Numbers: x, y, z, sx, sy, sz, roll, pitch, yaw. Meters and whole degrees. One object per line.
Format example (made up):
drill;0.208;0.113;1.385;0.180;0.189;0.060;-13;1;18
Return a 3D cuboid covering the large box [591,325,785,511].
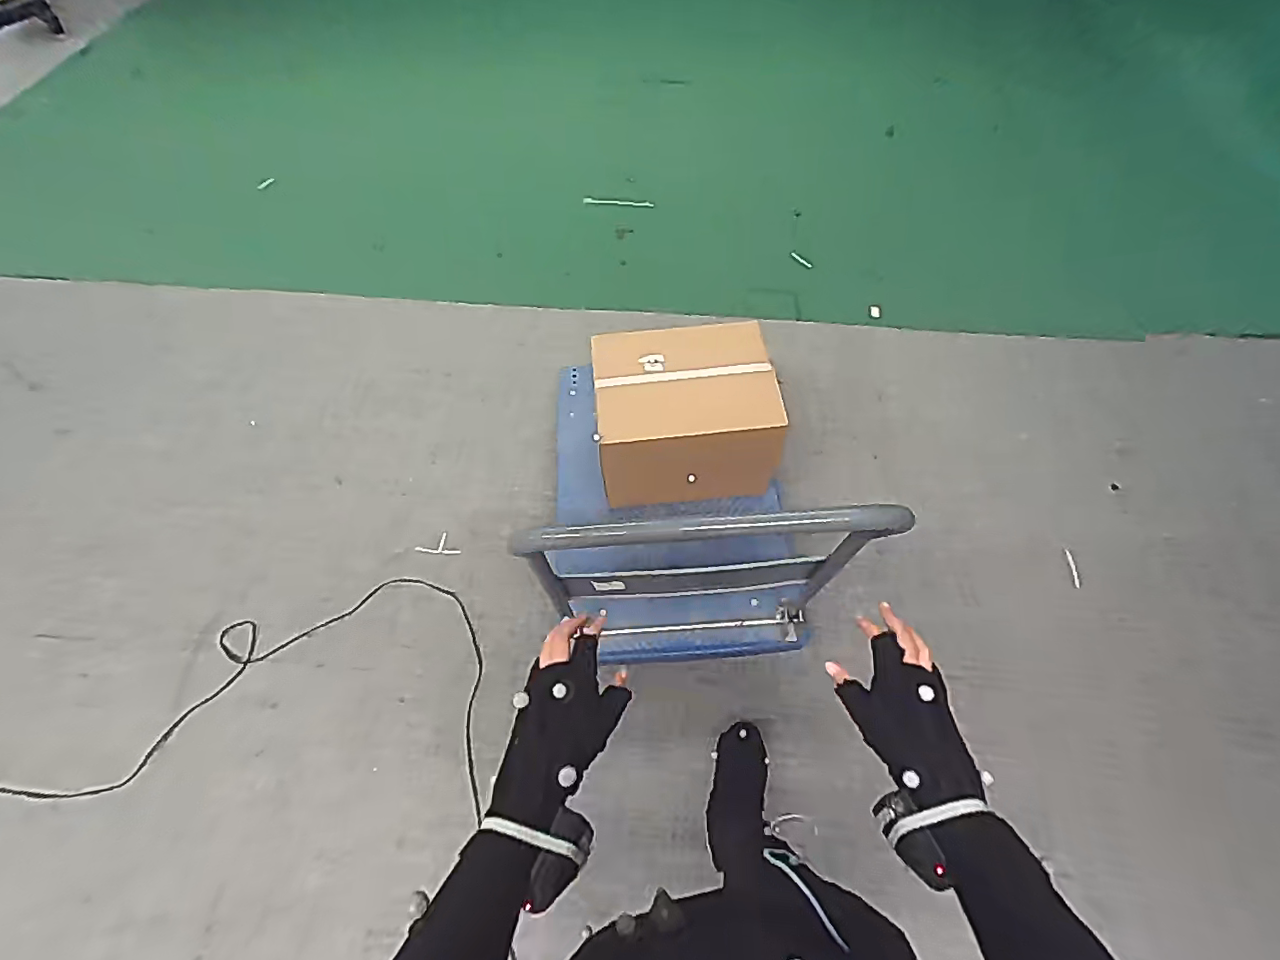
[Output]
large box;0.104;-0.143;1.345;0.408;0.320;0.320;-6;59;0
